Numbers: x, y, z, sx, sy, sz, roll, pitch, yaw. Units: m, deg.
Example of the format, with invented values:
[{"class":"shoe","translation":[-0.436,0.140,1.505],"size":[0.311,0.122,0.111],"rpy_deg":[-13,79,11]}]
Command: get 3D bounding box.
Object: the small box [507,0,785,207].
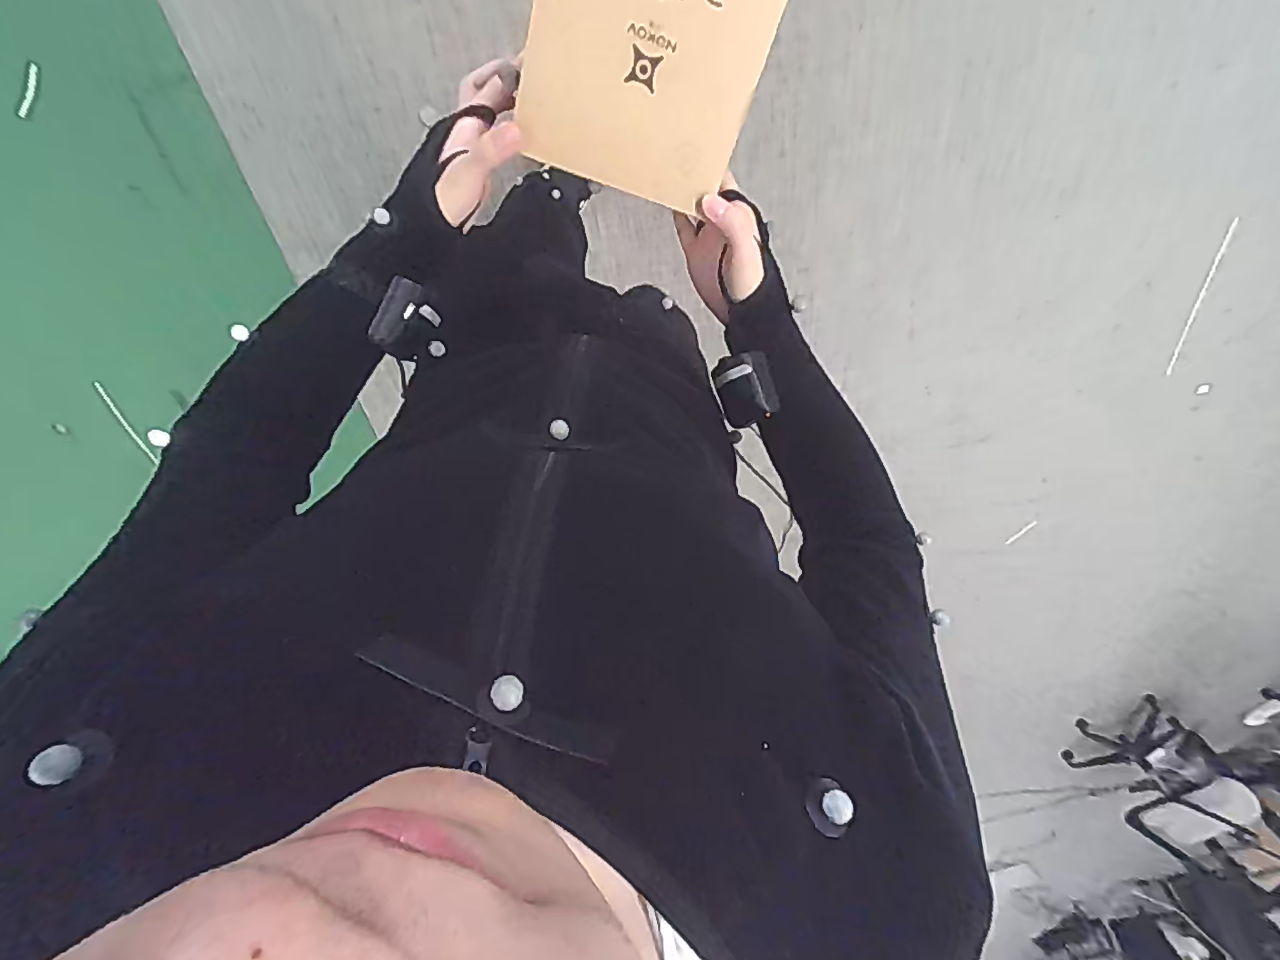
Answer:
[{"class":"small box","translation":[-0.004,-0.351,0.436],"size":[0.168,0.176,0.179],"rpy_deg":[11,122,-18]}]
